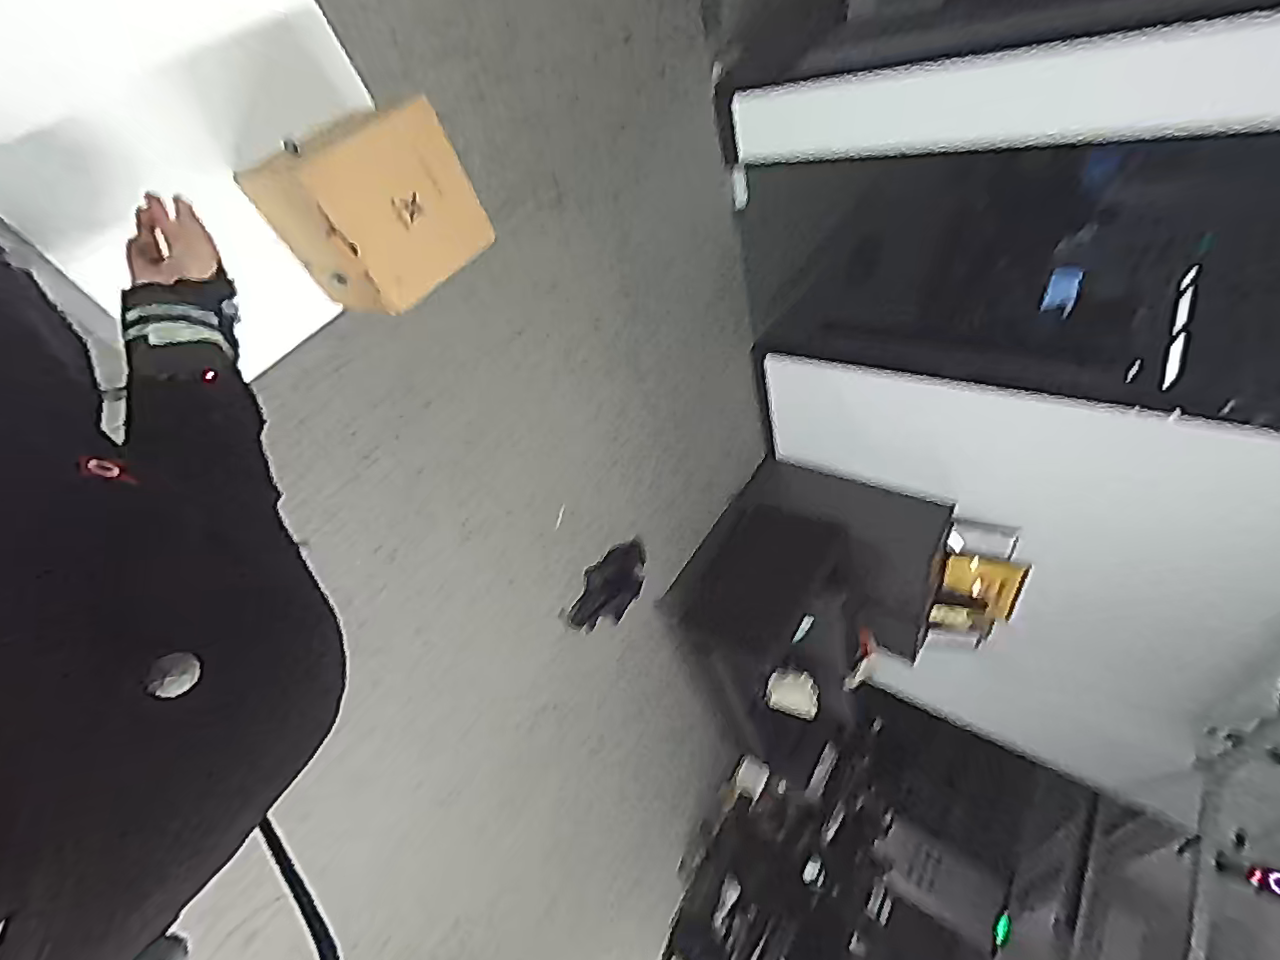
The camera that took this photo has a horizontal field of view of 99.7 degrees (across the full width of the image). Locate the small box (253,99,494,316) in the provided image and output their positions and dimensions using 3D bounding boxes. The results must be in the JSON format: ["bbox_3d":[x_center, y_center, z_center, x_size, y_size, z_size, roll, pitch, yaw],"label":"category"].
[{"bbox_3d":[-0.320,-0.322,0.651,0.179,0.176,0.168,-53,143,-25],"label":"small box"}]
